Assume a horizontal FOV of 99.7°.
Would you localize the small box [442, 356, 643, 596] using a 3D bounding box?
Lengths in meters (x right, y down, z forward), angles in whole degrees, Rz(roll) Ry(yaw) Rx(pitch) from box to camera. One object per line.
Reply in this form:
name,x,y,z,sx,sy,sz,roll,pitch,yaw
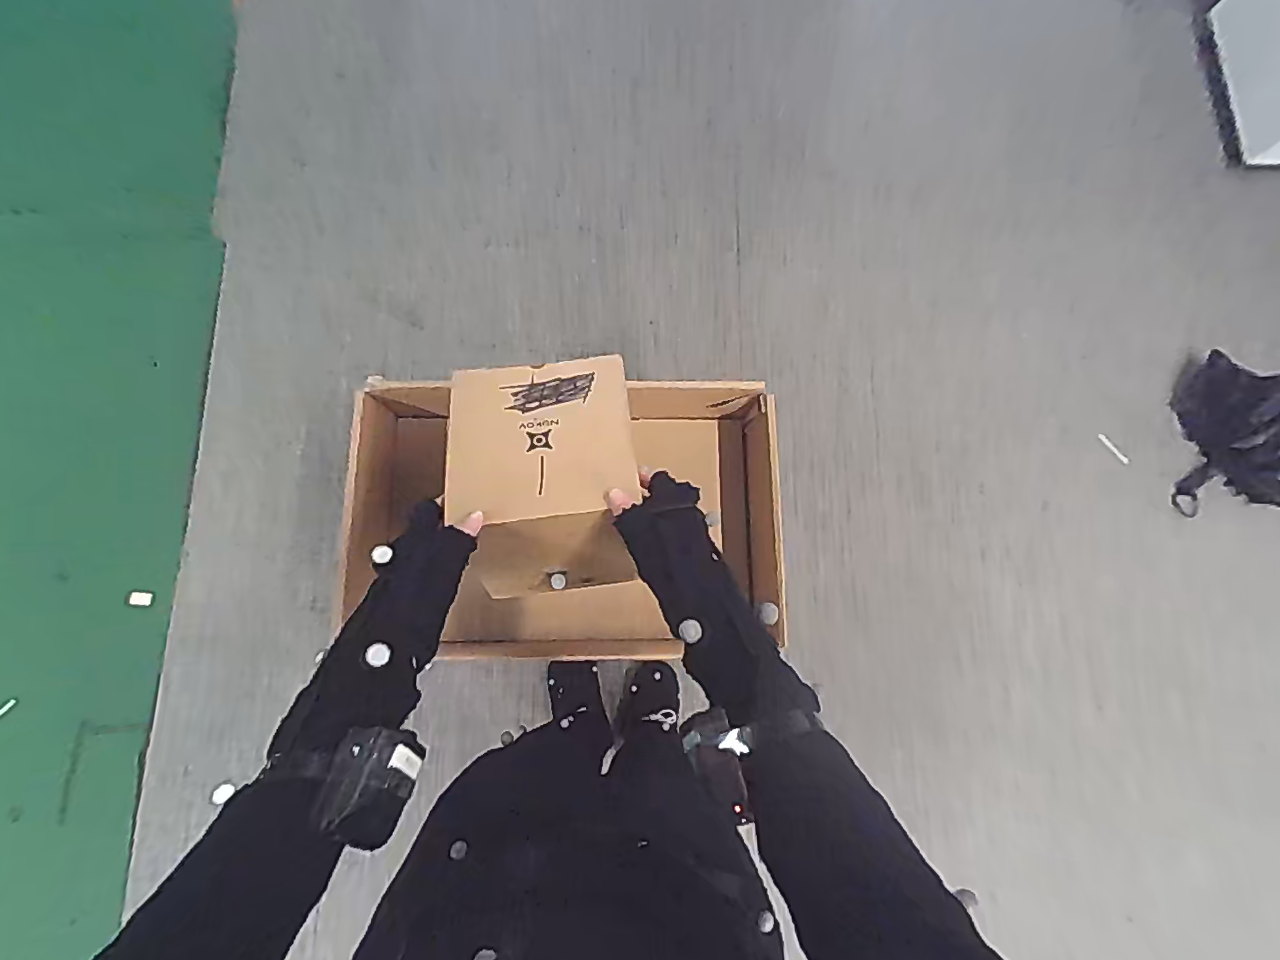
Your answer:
small box,-0.089,0.001,0.554,0.168,0.176,0.179,-8,59,-2
